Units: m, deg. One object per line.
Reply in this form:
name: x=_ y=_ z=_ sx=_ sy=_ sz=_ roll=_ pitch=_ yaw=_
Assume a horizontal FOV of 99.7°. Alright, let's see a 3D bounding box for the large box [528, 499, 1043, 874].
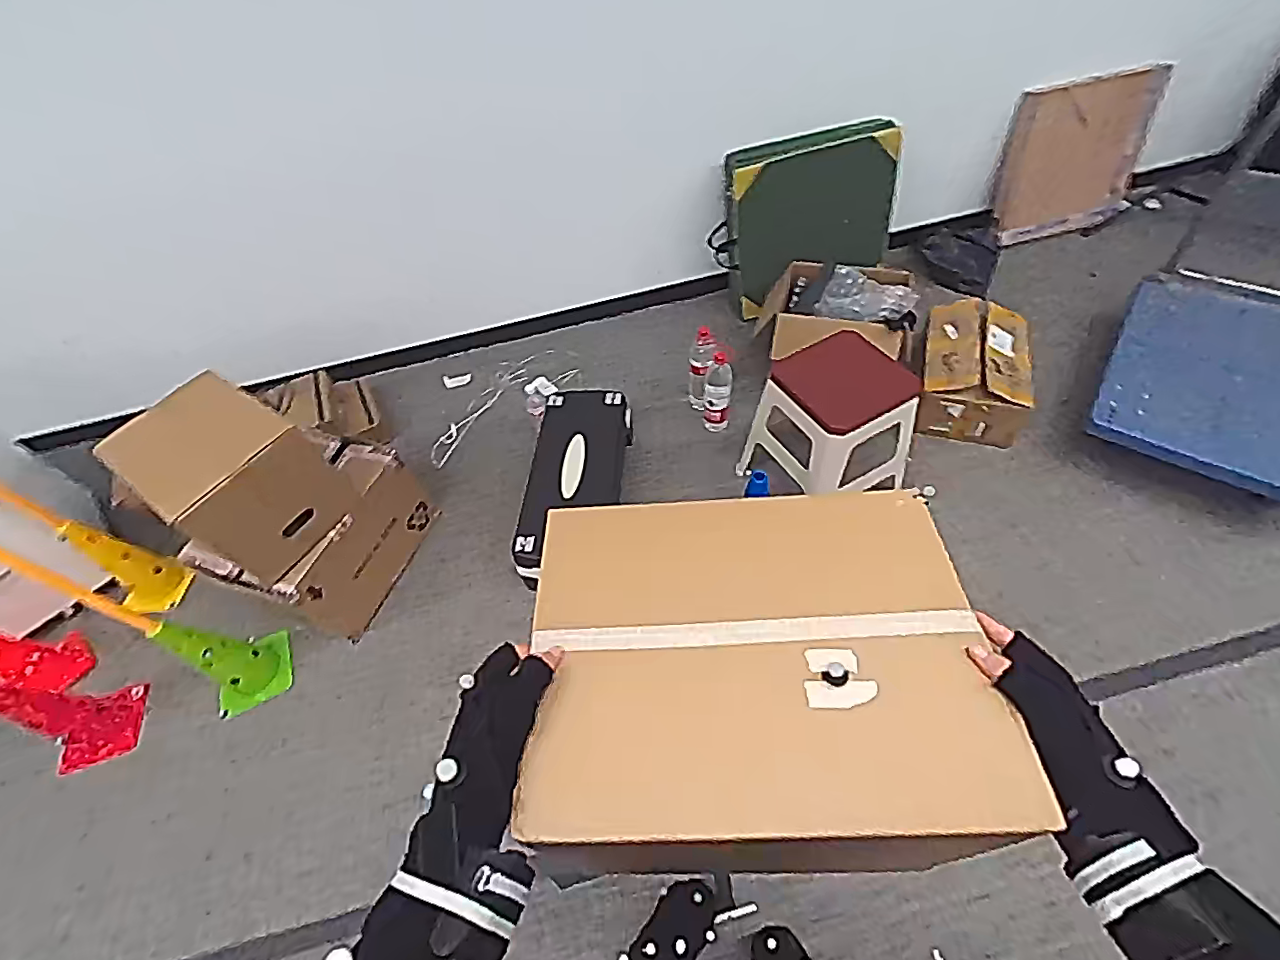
large box: x=0.117 y=0.245 z=0.623 sx=0.408 sy=0.320 sz=0.320 roll=-3 pitch=50 yaw=4
